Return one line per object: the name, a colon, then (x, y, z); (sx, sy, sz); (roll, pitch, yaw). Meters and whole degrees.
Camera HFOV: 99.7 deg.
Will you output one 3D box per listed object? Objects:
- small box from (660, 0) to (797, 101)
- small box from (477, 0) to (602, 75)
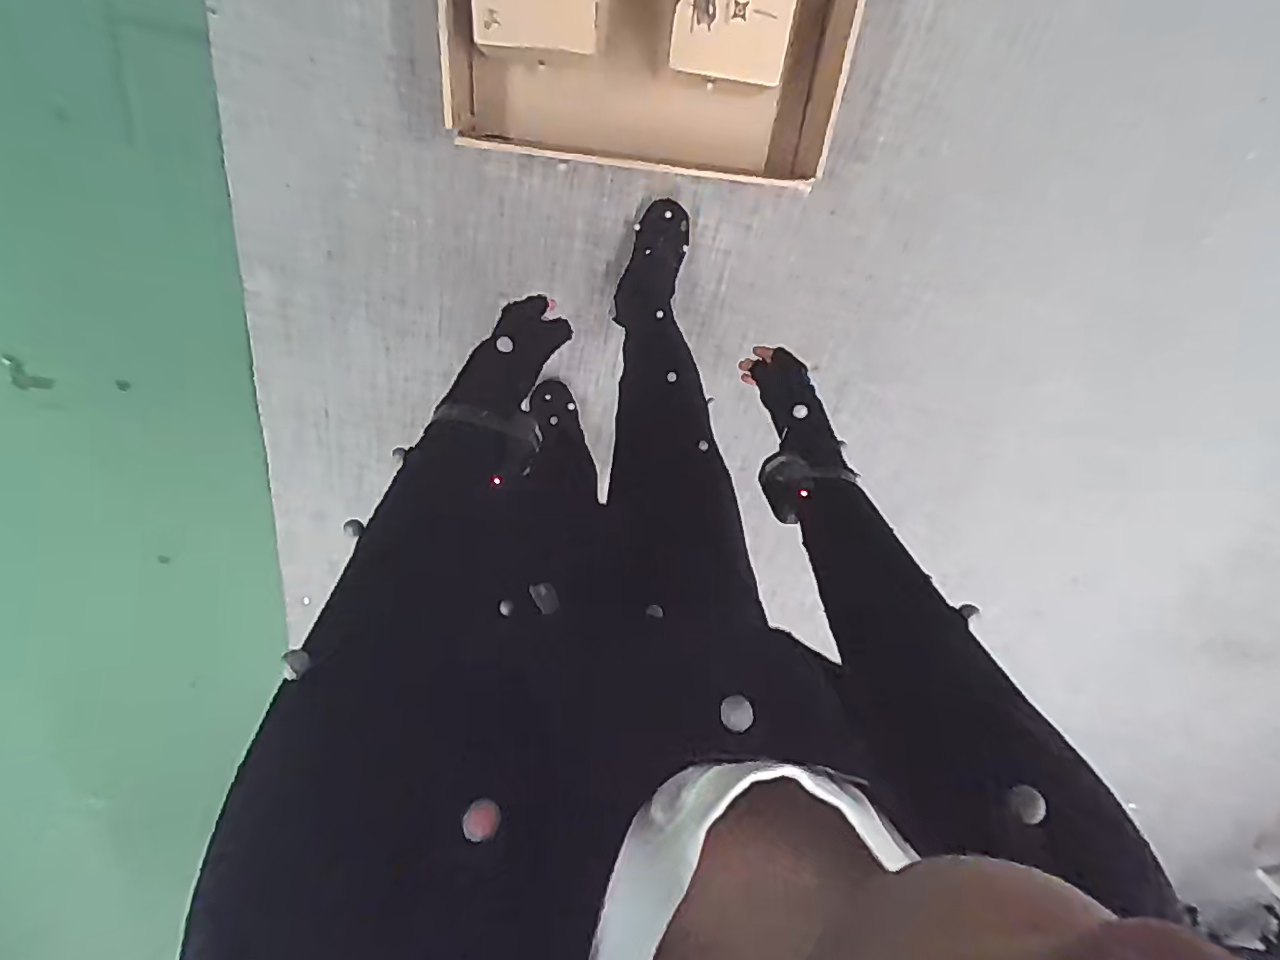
small box: (0.132, -0.711, 0.849); (0.179, 0.176, 0.168); (5, 120, -7)
small box: (-0.148, -0.728, 0.815); (0.179, 0.176, 0.168); (0, 120, -7)
